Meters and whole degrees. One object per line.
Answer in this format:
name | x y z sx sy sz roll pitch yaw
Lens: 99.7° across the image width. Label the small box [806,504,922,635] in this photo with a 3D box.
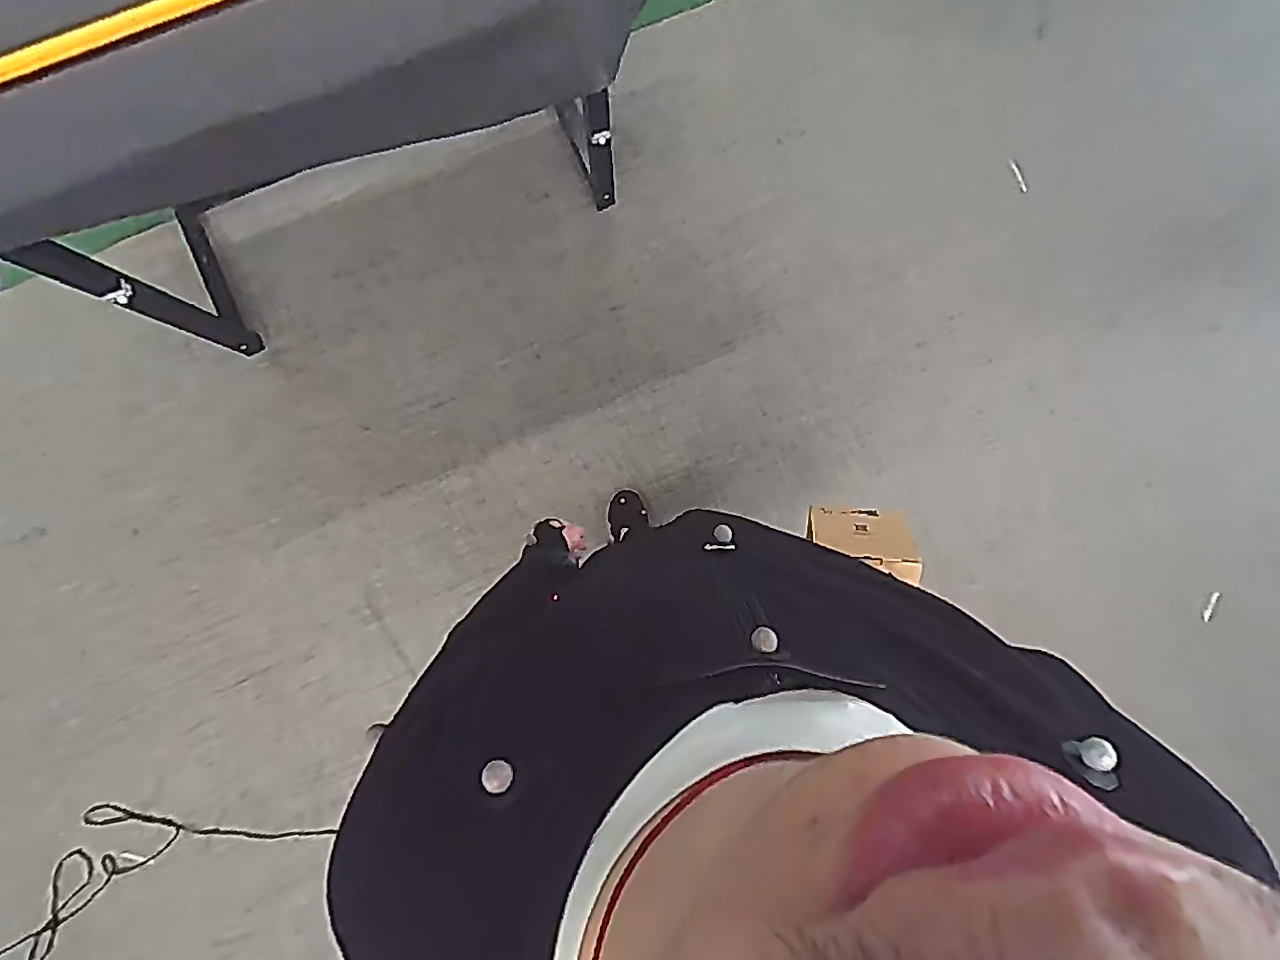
small box | 0.391 0.158 0.972 0.168 0.179 0.176 0 116 12
